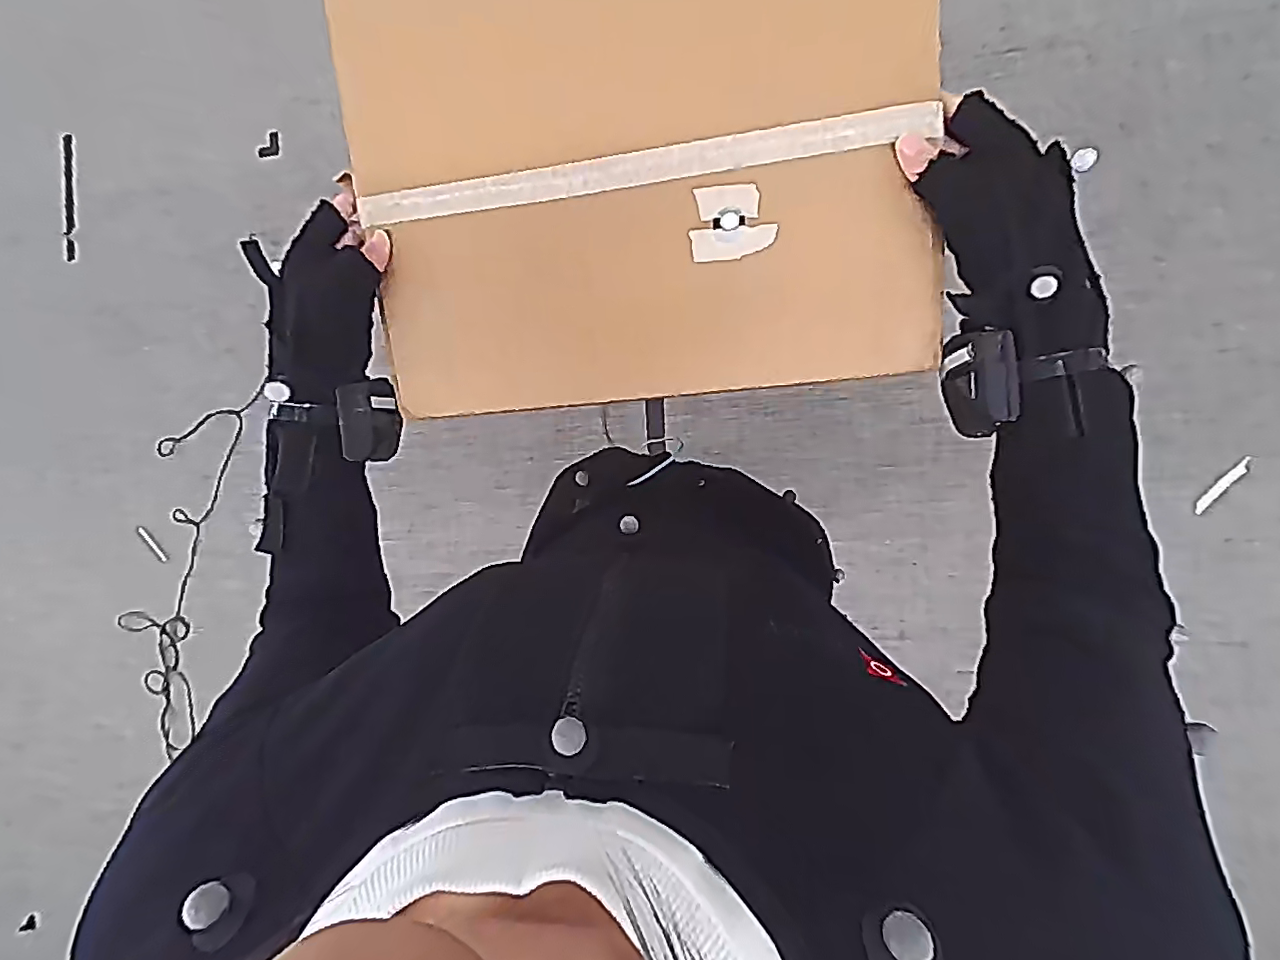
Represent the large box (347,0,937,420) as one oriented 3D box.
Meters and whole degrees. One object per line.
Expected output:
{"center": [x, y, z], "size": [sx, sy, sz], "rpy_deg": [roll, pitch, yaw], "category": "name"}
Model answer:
{"center": [0.015, -0.245, 0.533], "size": [0.408, 0.320, 0.320], "rpy_deg": [-5, 101, 8], "category": "large box"}
